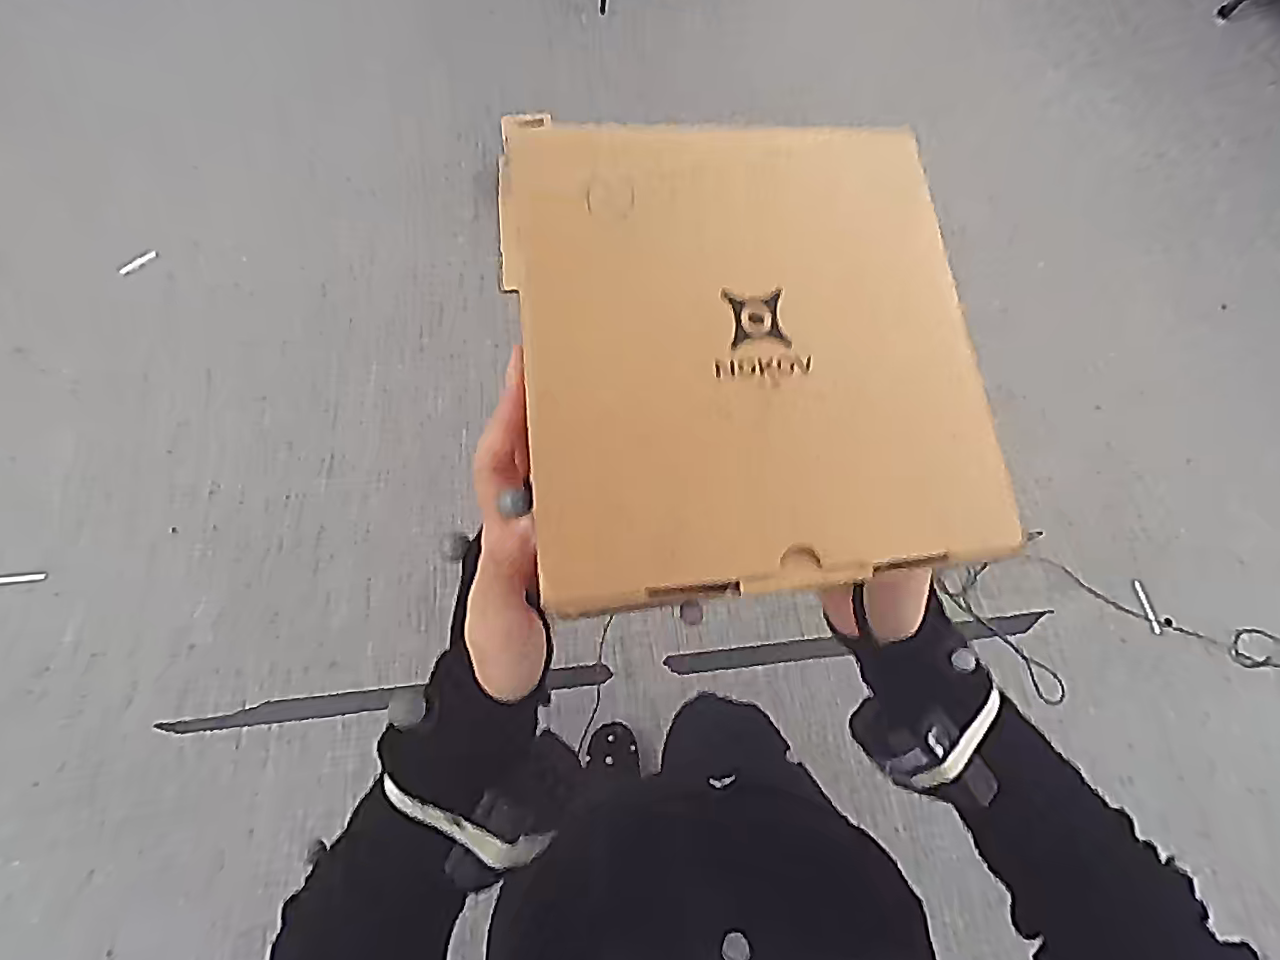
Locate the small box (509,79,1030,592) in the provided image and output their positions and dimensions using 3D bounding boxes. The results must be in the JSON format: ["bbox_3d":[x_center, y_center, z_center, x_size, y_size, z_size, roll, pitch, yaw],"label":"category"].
[{"bbox_3d":[0.029,-0.046,0.263,0.168,0.176,0.179,-5,77,-9],"label":"small box"}]
